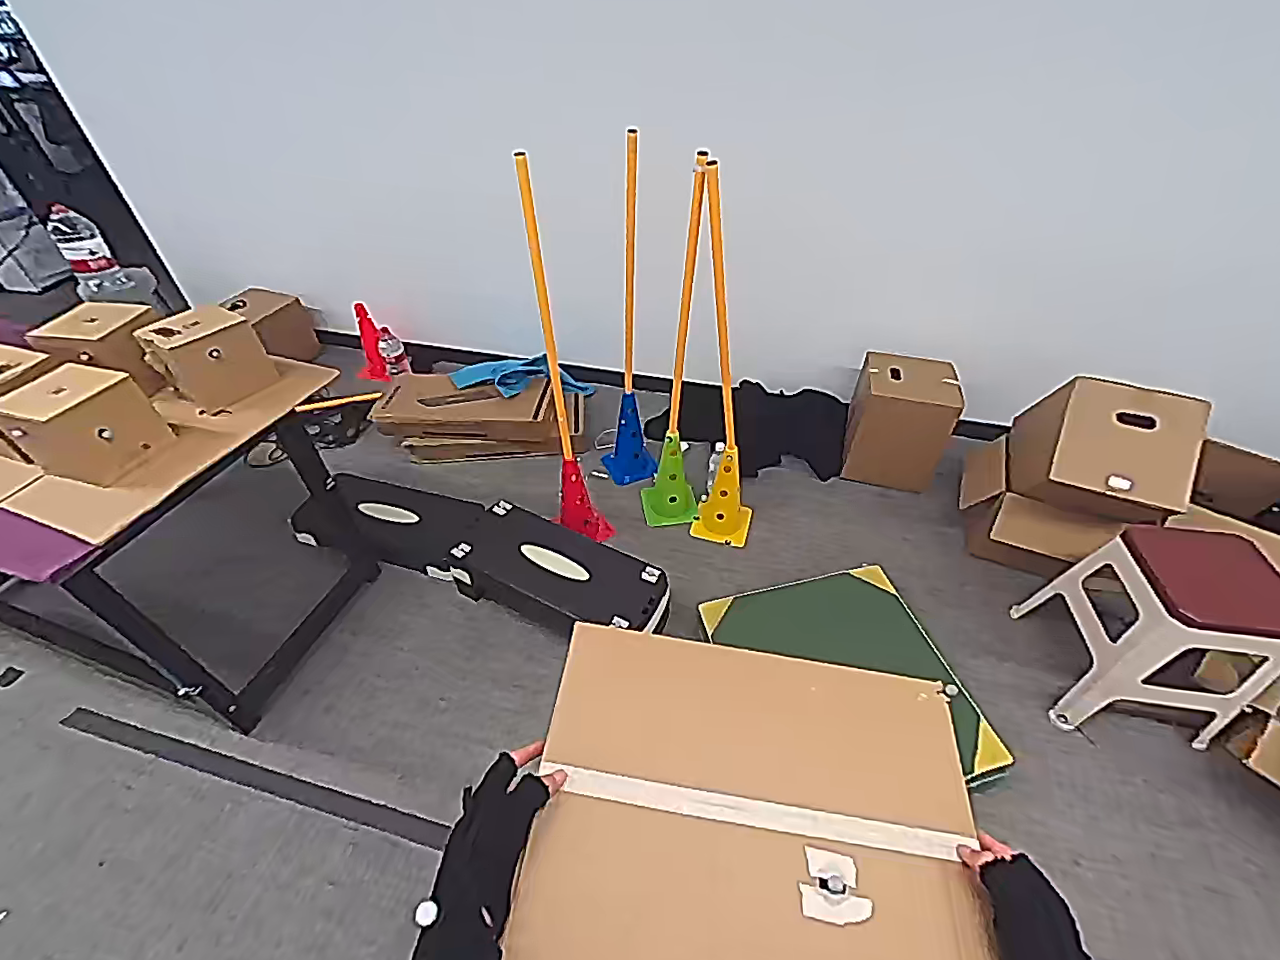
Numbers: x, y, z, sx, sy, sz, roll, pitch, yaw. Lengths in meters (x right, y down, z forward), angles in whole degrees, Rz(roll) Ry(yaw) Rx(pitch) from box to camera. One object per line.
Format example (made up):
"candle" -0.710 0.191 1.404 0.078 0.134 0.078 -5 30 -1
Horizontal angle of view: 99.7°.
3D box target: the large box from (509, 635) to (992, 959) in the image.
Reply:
"large box" 0.098 0.414 0.619 0.408 0.320 0.320 9 49 4
